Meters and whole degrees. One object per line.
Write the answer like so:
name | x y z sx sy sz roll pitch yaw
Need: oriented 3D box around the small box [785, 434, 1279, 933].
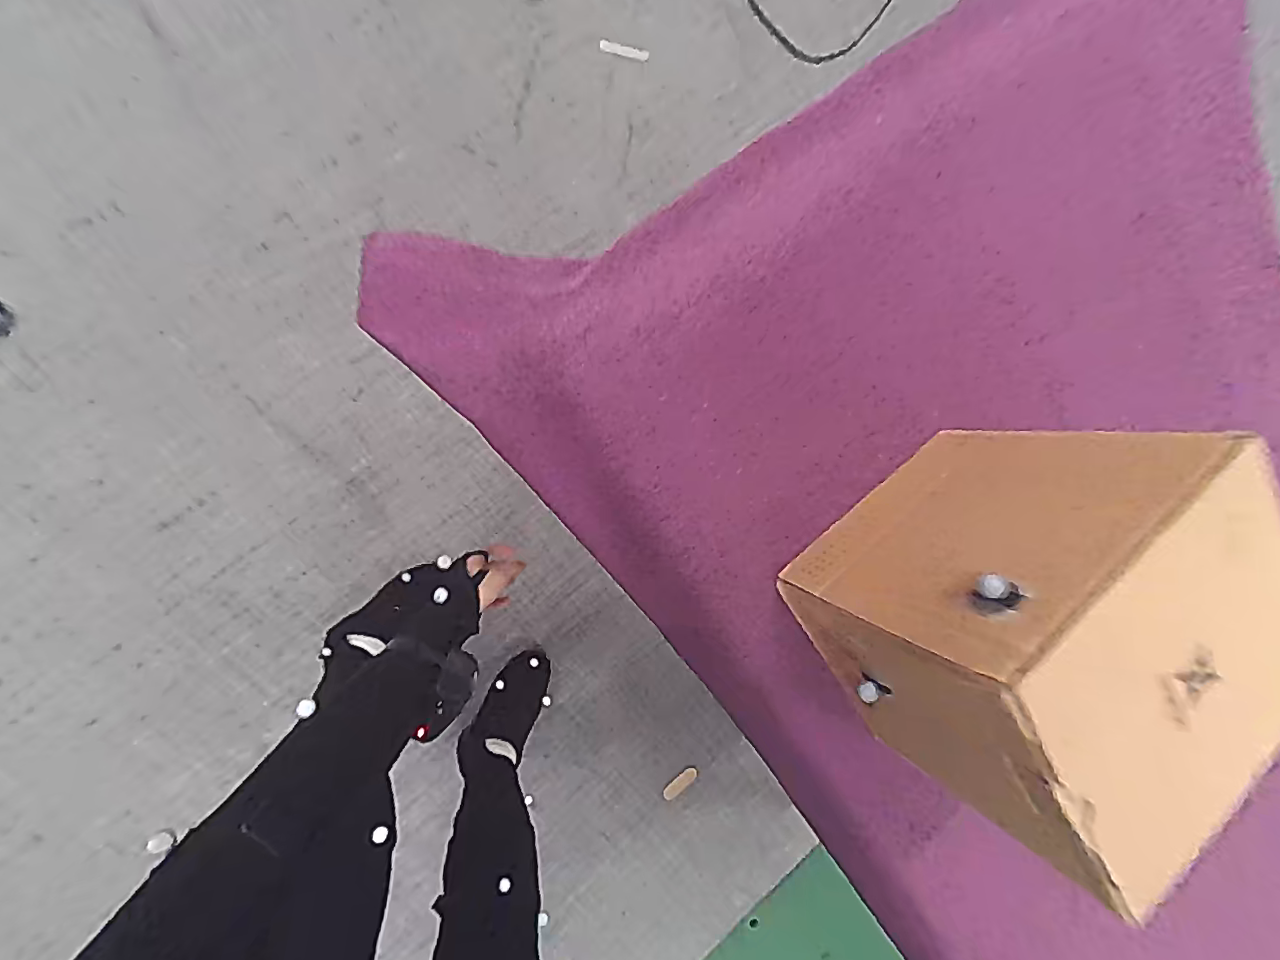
small box | 0.223 0.084 0.317 0.179 0.176 0.168 -38 105 -11
